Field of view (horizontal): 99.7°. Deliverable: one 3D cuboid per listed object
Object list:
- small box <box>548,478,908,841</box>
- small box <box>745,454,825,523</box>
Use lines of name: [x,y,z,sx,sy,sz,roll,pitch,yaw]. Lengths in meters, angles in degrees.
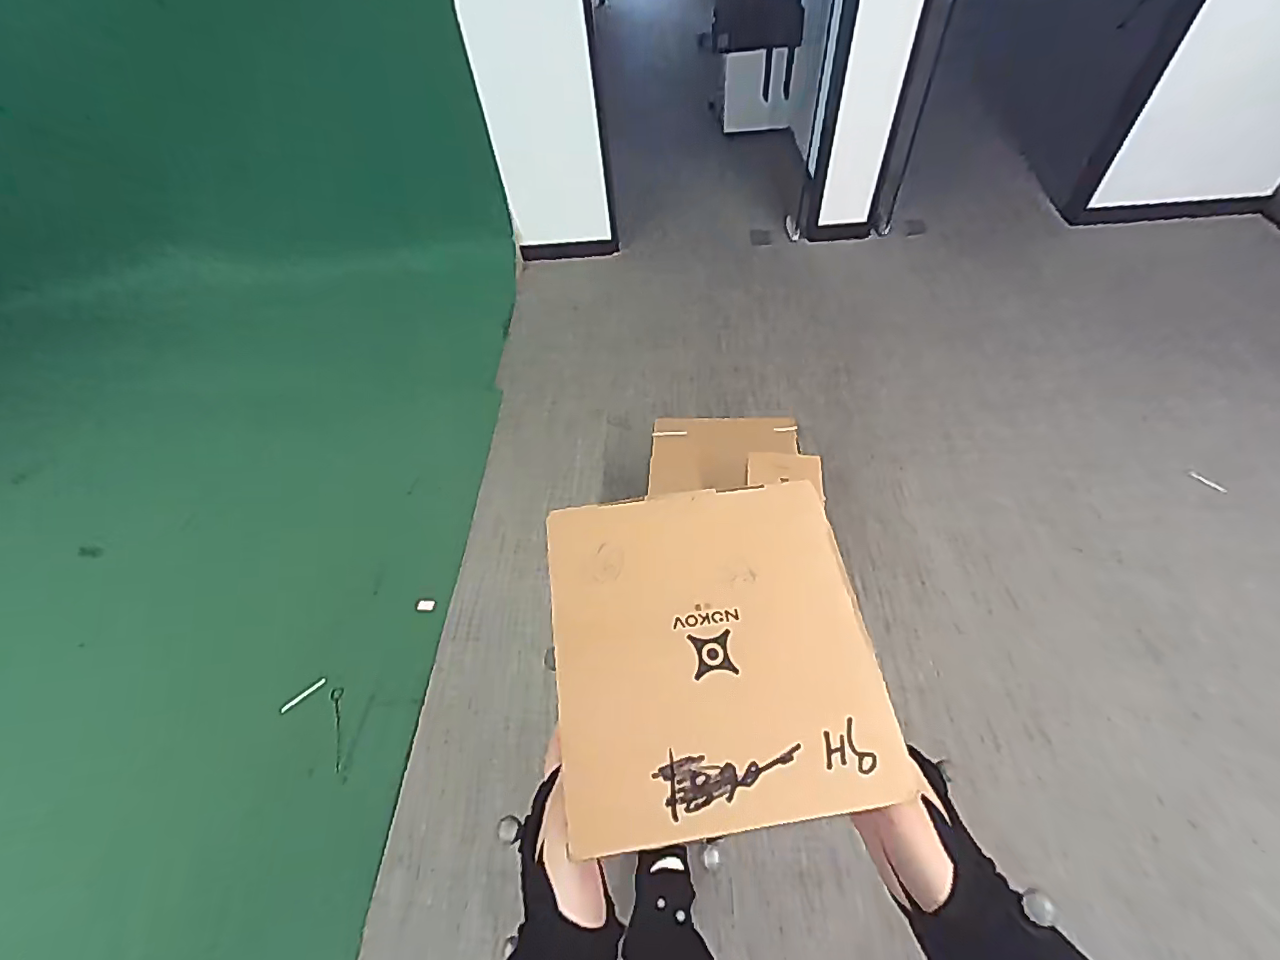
small box: [0.033,0.121,0.357,0.168,0.176,0.179,-7,60,-4]
small box: [0.326,0.063,1.253,0.168,0.176,0.179,4,52,7]
